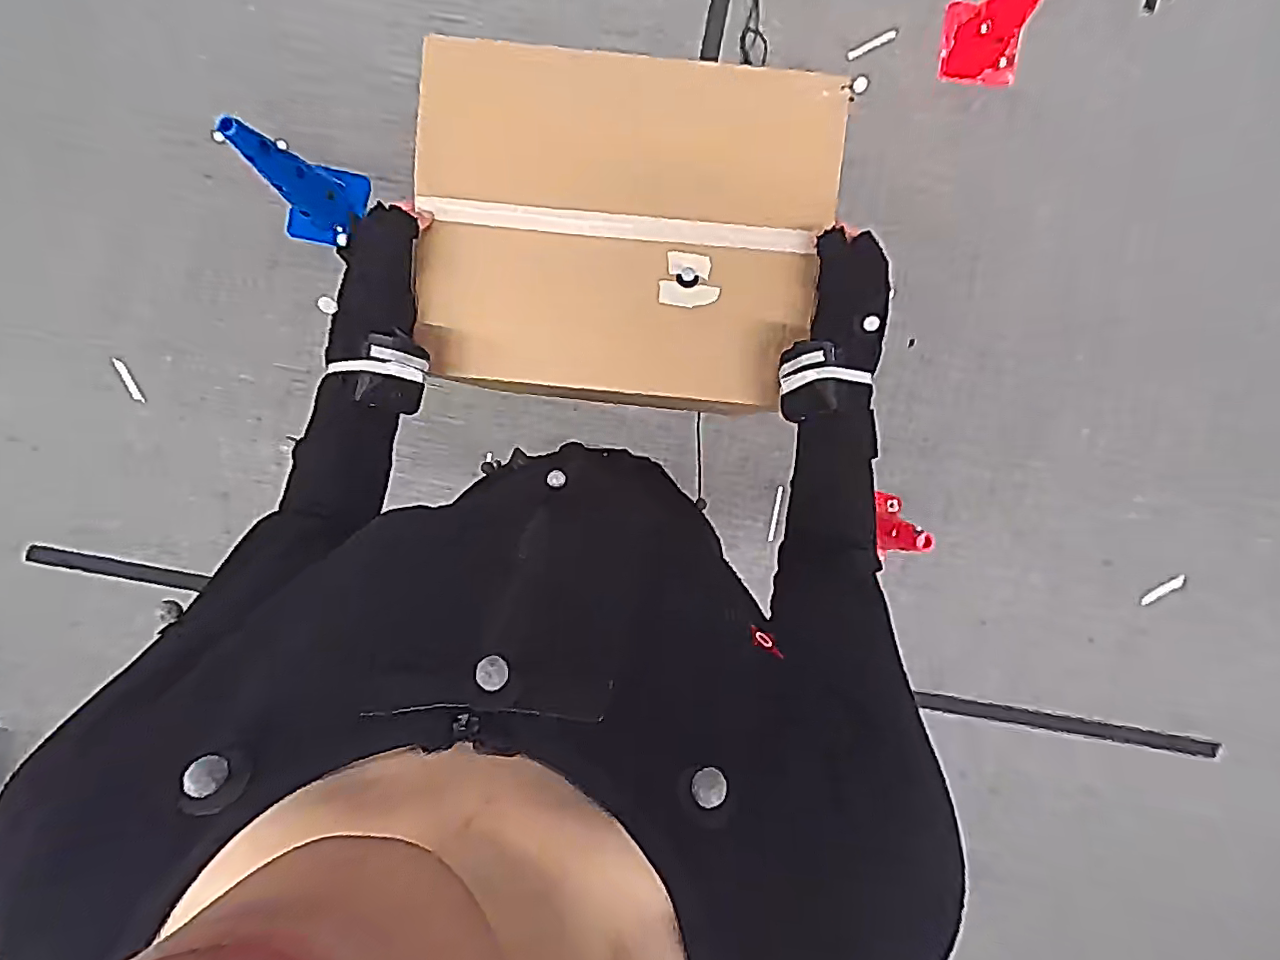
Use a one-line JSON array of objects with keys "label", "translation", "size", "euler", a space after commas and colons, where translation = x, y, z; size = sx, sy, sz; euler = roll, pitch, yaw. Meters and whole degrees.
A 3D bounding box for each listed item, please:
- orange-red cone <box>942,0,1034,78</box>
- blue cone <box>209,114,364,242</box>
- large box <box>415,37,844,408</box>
[{"label": "orange-red cone", "translation": [0.892, -1.153, 1.235], "size": [0.198, 0.360, 0.199], "euler": [8, 91, -1]}, {"label": "blue cone", "translation": [-0.848, -0.737, 1.288], "size": [0.192, 0.380, 0.193], "euler": [13, 93, 1]}, {"label": "large box", "translation": [-0.017, -0.265, 0.673], "size": [0.408, 0.320, 0.320], "euler": [6, 96, -1]}]
